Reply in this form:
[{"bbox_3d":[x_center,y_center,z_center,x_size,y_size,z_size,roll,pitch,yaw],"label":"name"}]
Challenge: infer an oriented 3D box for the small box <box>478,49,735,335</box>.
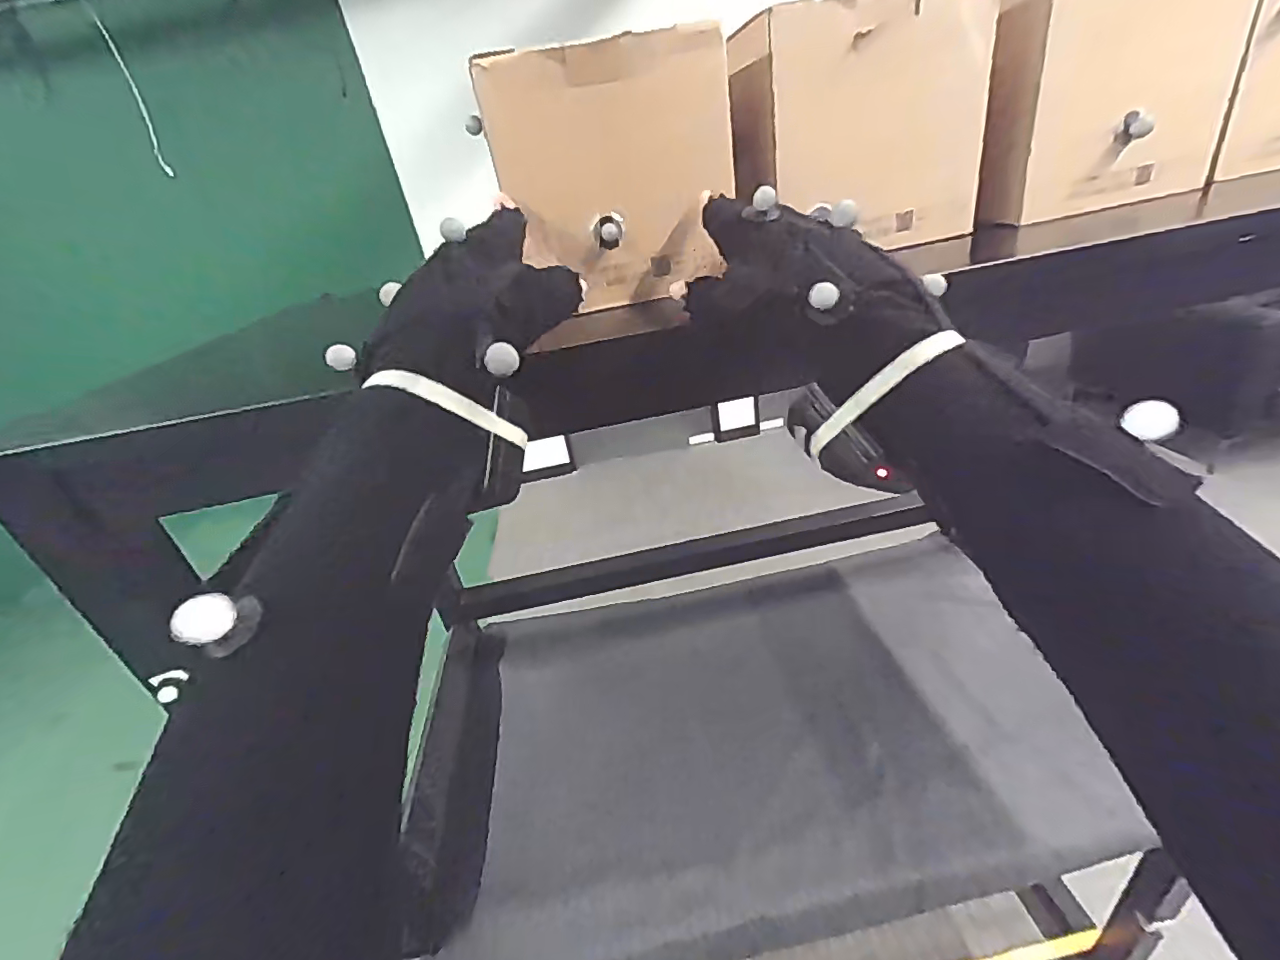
[{"bbox_3d":[-0.025,-0.232,0.460,0.168,0.176,0.179,-12,29,-4],"label":"small box"}]
